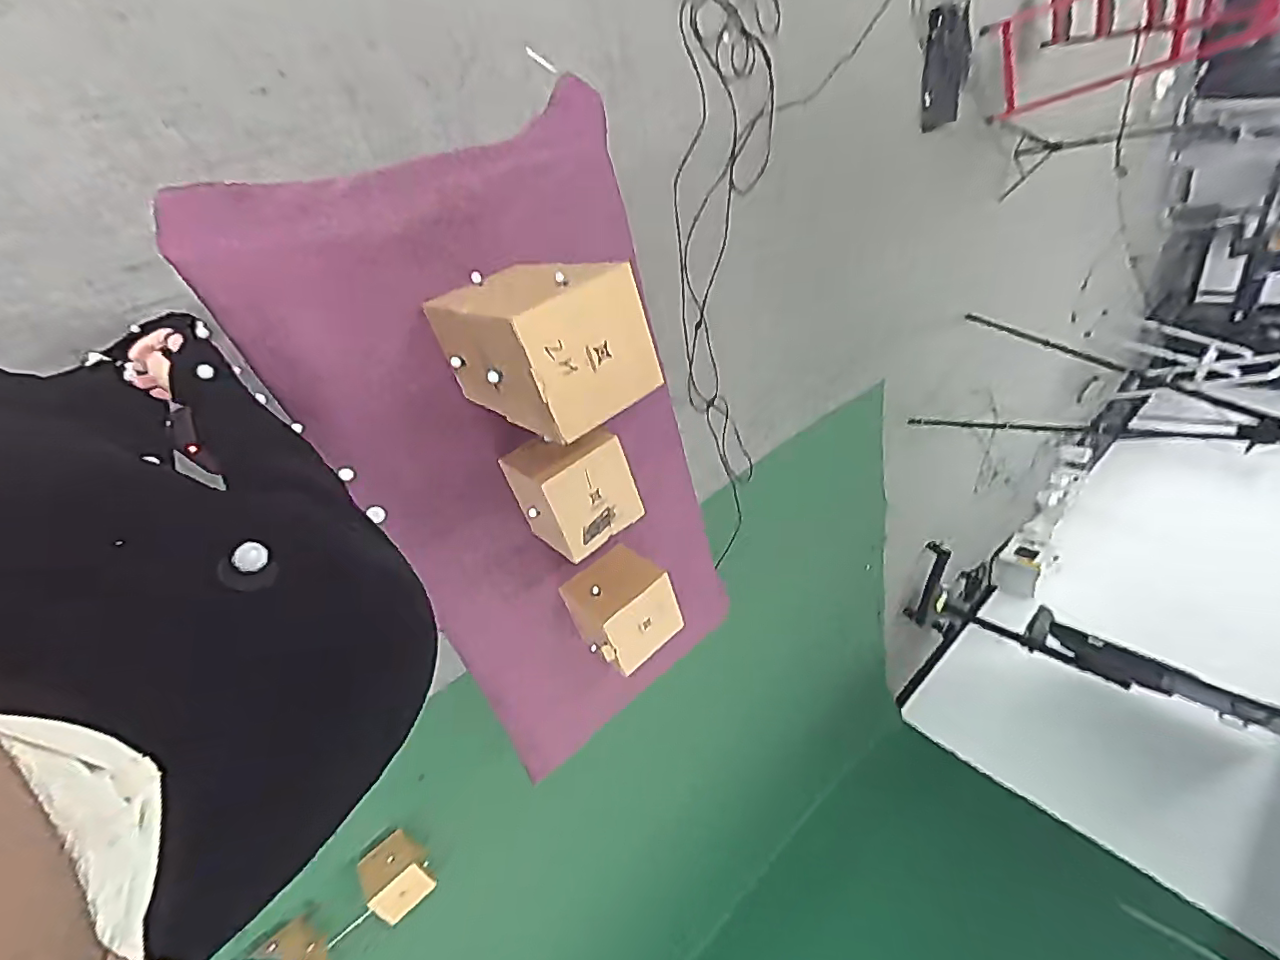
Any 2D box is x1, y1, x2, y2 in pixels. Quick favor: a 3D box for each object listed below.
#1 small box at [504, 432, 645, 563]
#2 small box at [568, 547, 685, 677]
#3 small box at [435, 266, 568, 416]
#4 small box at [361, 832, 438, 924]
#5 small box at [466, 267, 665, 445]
[{"bbox_3d":[-0.121,0.015,0.995,0.168,0.176,0.179,-35,124,-25],"label":"small box"},{"bbox_3d":[-0.035,0.275,1.161,0.179,0.176,0.168,-34,125,-25],"label":"small box"},{"bbox_3d":[-0.197,-0.222,0.846,0.179,0.176,0.168,-34,125,-24],"label":"small box"},{"bbox_3d":[-0.839,1.373,1.879,0.168,0.176,0.179,-34,125,-25],"label":"small box"},{"bbox_3d":[-0.099,-0.174,0.723,0.179,0.176,0.168,-35,124,-24],"label":"small box"}]
